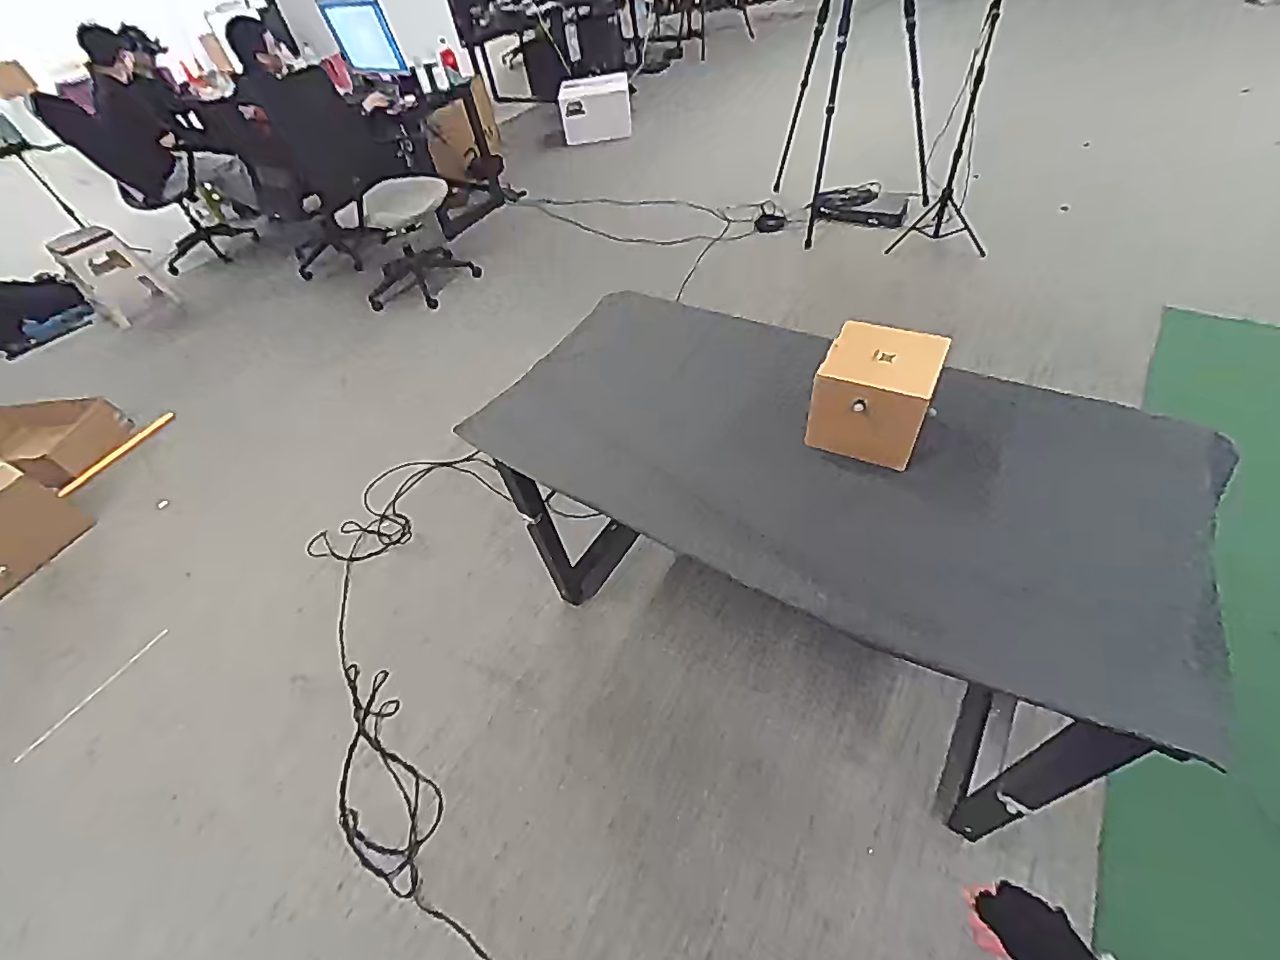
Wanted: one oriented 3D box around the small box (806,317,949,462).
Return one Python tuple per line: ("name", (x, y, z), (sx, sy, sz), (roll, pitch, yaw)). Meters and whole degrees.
("small box", (0.405, -0.154, 0.942), (0.179, 0.176, 0.168), (19, 56, 25))
